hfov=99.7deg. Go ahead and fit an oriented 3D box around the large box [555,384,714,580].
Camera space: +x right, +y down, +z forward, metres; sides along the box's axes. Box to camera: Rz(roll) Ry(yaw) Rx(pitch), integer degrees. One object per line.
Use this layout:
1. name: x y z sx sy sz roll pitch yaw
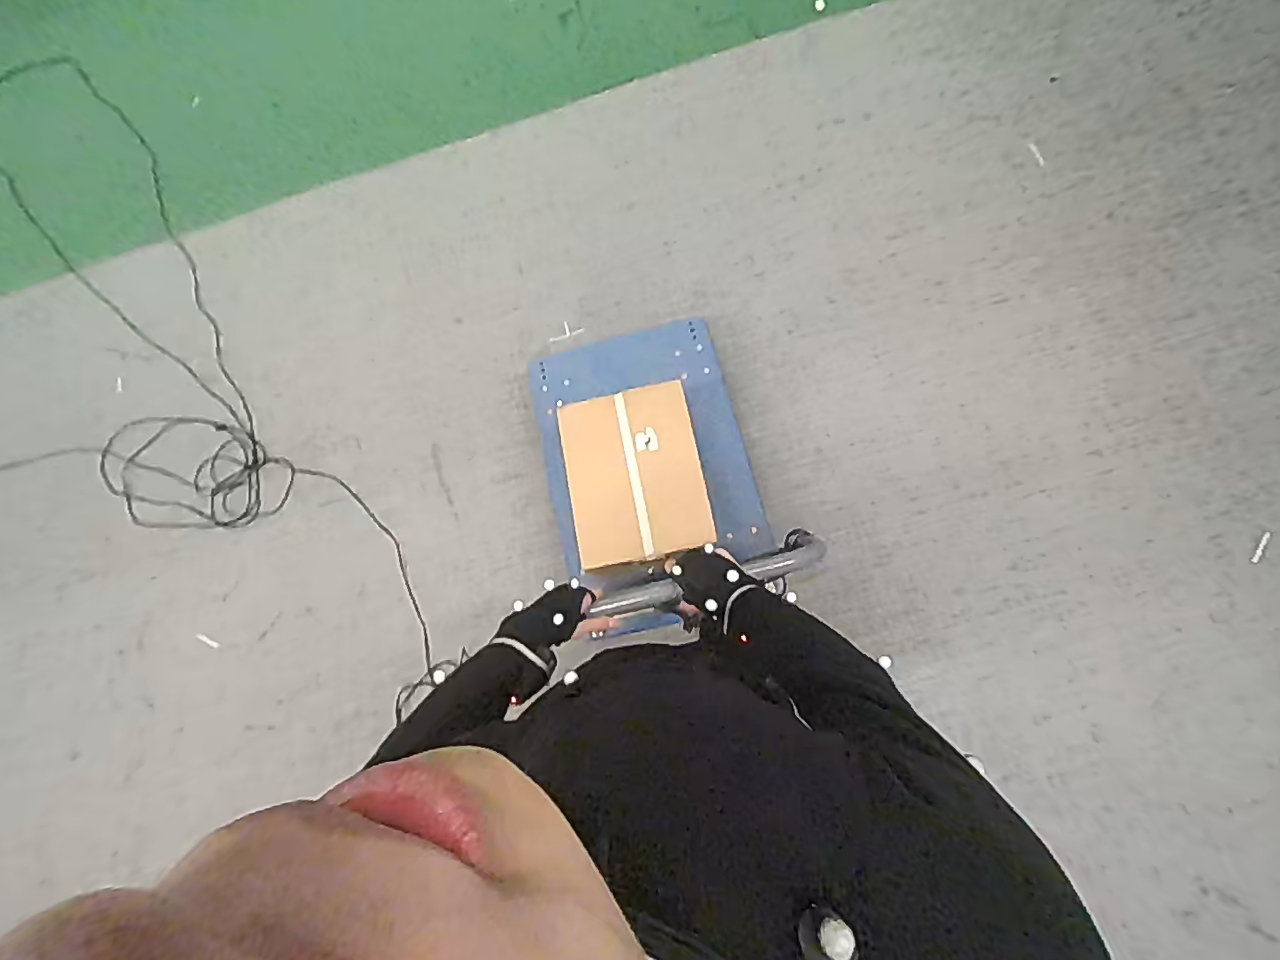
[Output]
1. large box: -0.004 0.023 1.405 0.320 0.320 0.408 -12 74 3
